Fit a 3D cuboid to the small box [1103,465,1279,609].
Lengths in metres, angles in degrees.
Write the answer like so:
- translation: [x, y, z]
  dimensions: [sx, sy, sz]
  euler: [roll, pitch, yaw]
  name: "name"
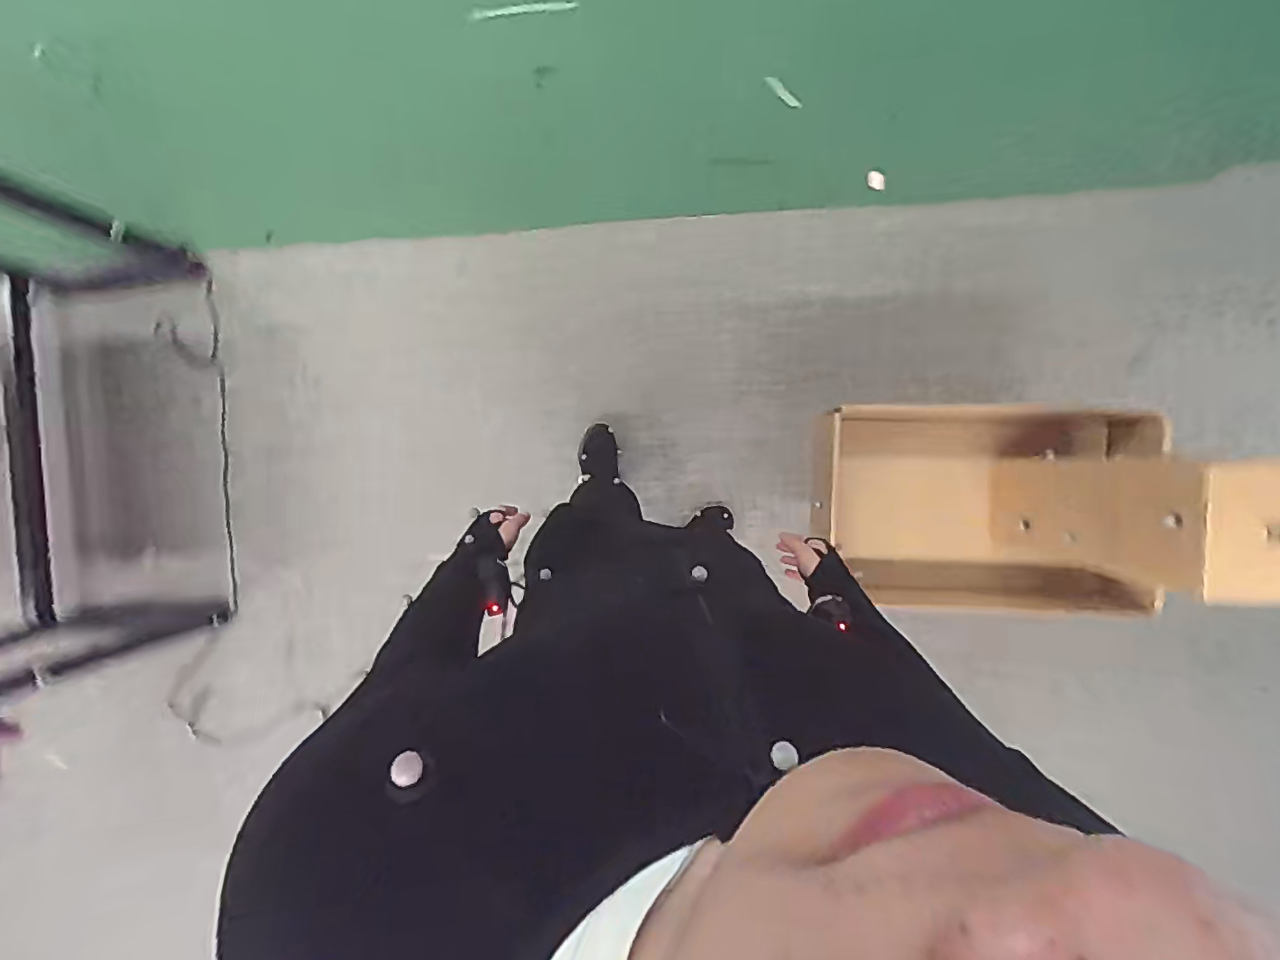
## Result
- translation: [0.791, 0.070, 0.749]
  dimensions: [0.168, 0.176, 0.179]
  euler: [1, 92, 5]
  name: "small box"
